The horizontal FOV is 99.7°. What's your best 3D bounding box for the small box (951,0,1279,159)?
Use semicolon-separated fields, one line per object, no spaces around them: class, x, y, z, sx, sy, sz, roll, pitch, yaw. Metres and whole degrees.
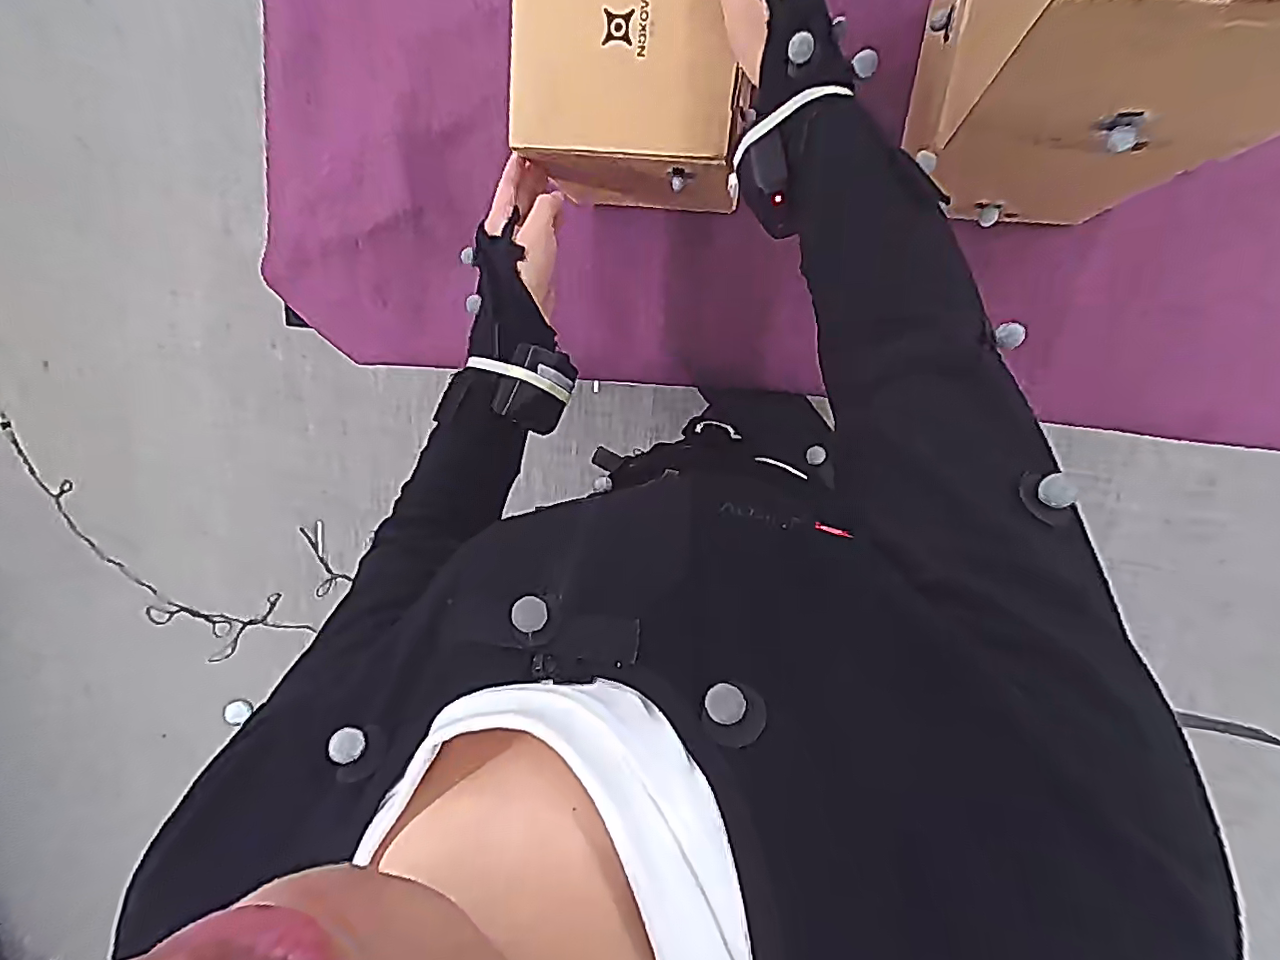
small box;0.277;-0.286;0.262;0.168;0.176;0.179;10;103;13

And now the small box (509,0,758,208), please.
small box;0.004;-0.350;0.472;0.179;0.176;0.168;8;104;8

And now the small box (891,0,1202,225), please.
small box;0.311;-0.319;0.420;0.168;0.176;0.179;10;104;12
